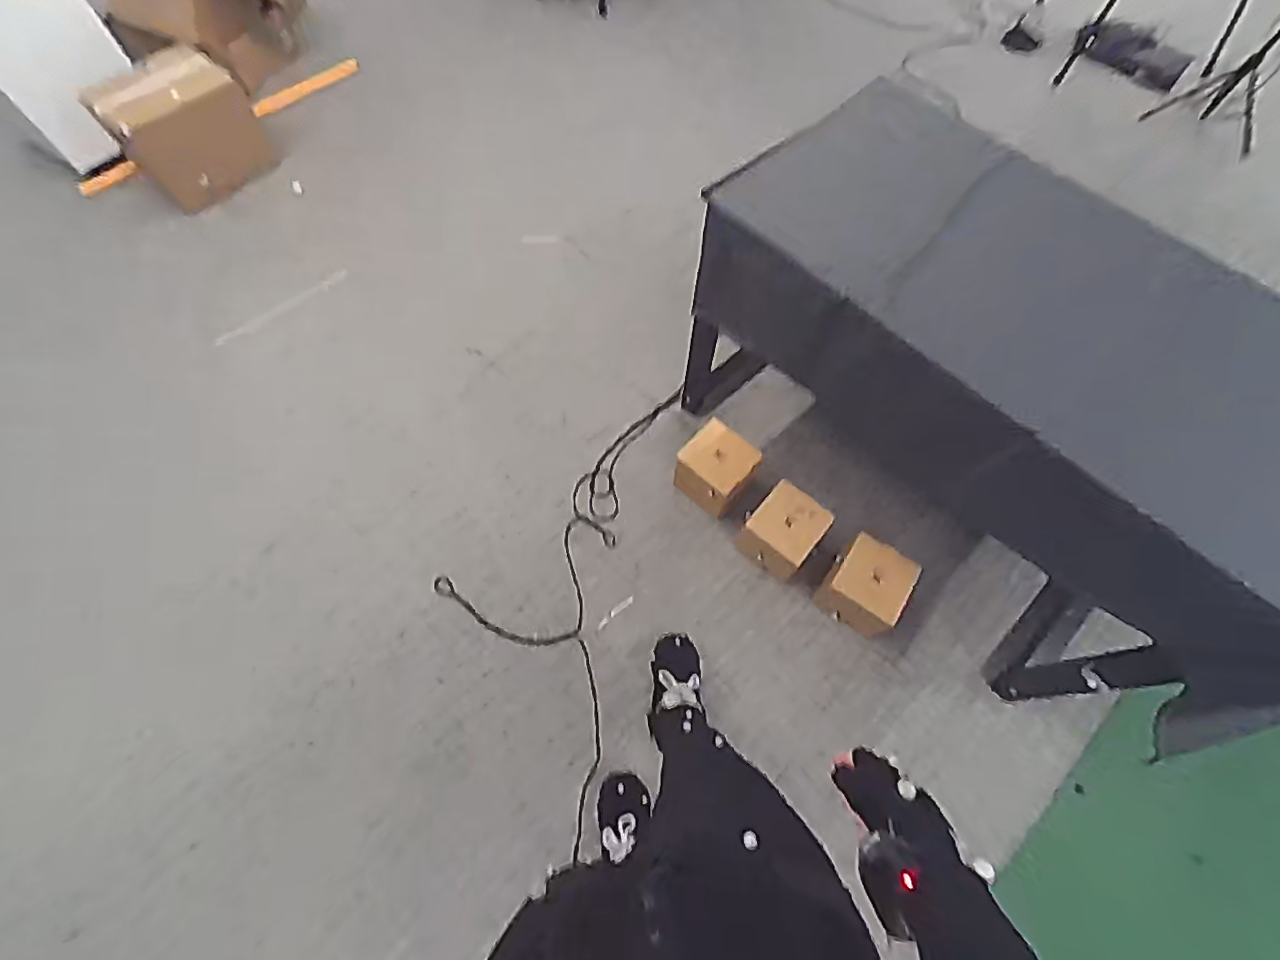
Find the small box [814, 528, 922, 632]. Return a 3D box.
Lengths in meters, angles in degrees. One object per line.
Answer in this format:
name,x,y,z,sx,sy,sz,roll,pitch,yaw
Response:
small box,0.569,0.258,1.372,0.168,0.176,0.179,34,68,13
